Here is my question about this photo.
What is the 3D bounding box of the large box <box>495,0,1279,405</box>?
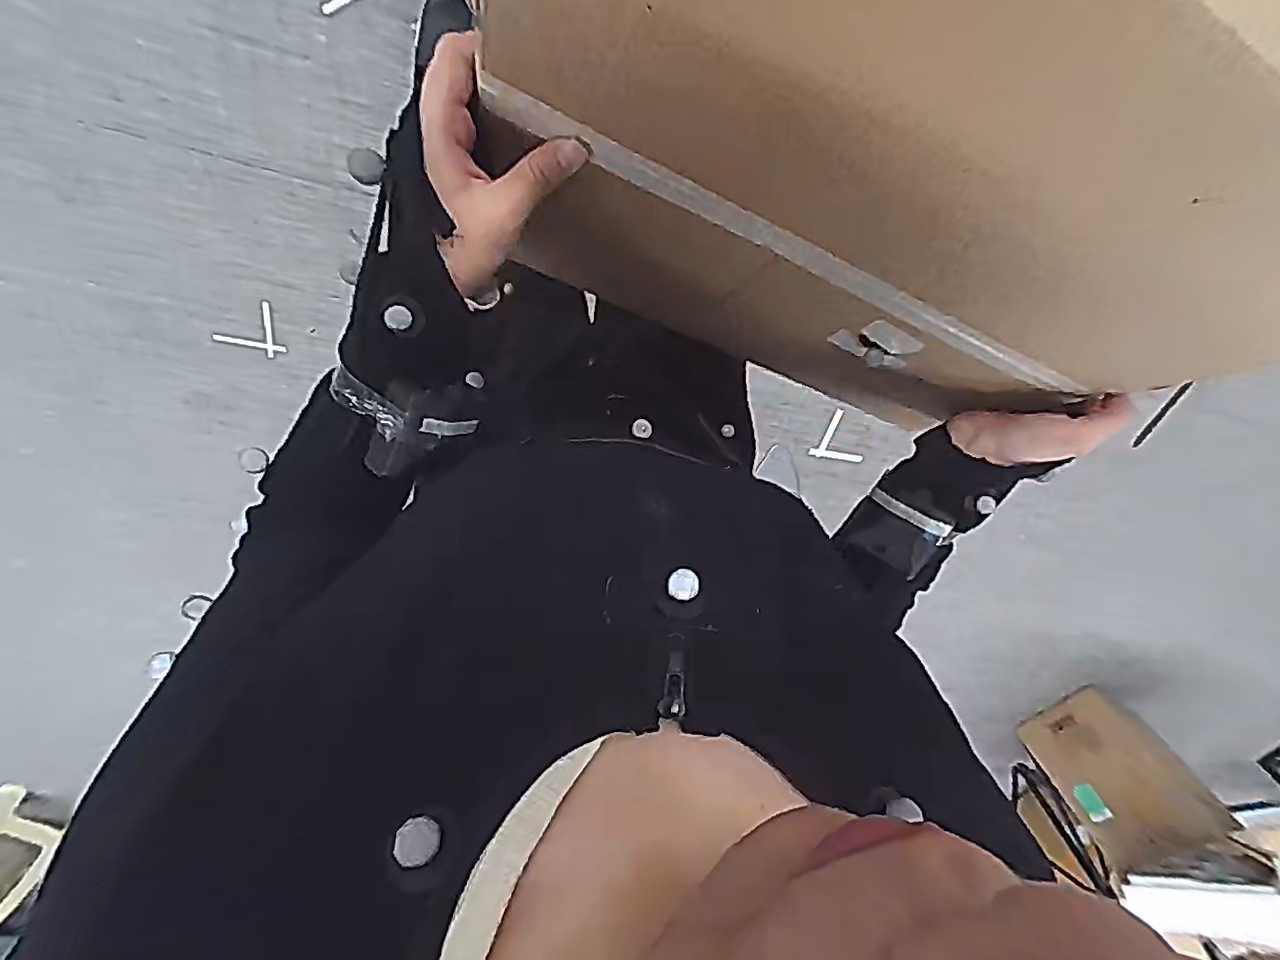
[{"bbox_3d":[0.165,-0.273,0.287,0.408,0.320,0.320,17,83,-16],"label":"large box"}]
